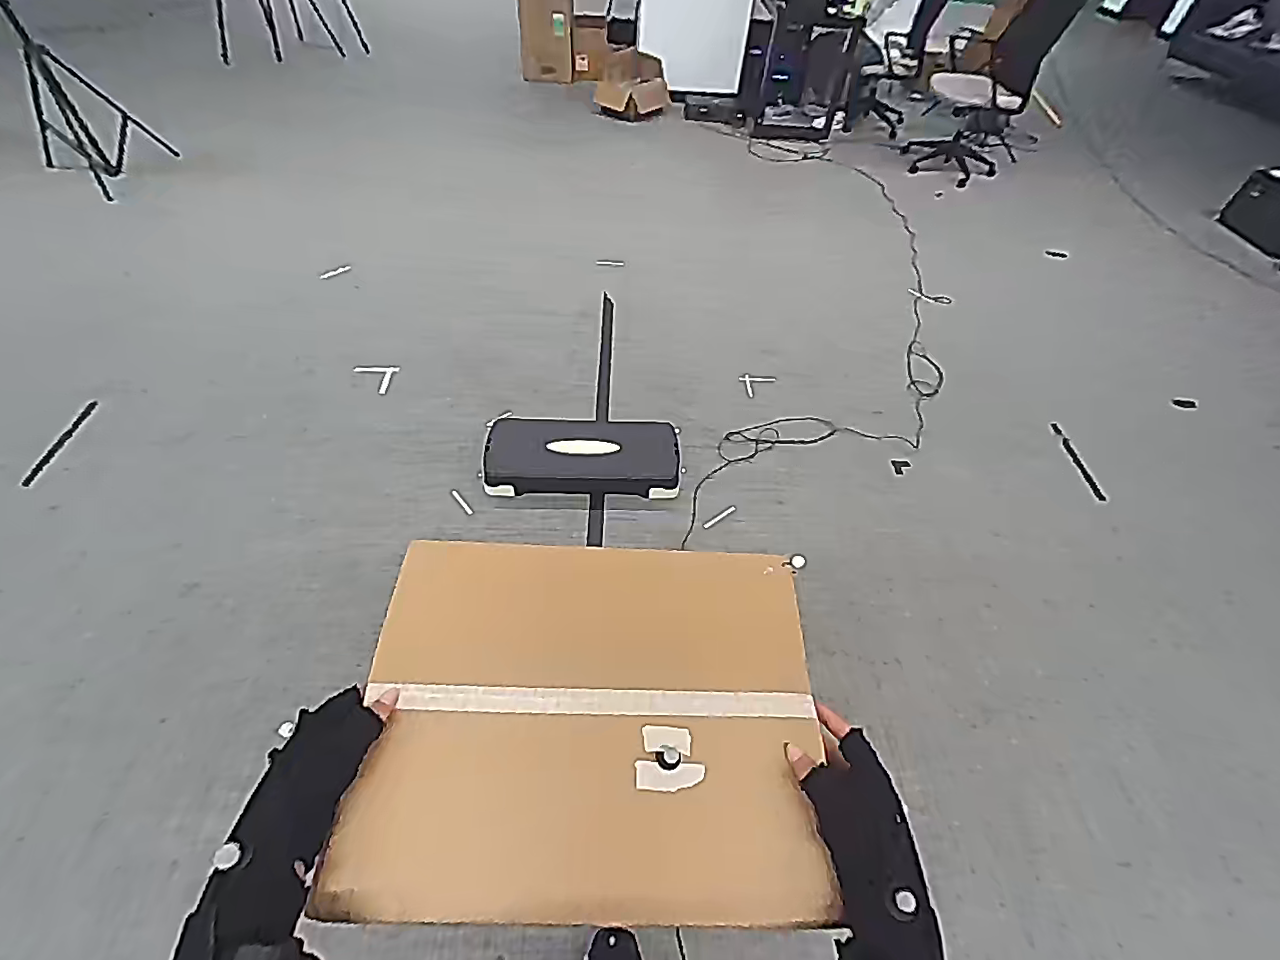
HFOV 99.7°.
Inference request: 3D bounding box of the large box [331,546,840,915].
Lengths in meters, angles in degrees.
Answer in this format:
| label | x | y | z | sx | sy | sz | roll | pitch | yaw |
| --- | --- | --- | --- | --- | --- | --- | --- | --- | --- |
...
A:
| label | x | y | z | sx | sy | sz | roll | pitch | yaw |
| --- | --- | --- | --- | --- | --- | --- | --- | --- | --- |
| large box | -0.049 | 0.288 | 0.622 | 0.408 | 0.320 | 0.320 | 3 | 56 | -3 |
